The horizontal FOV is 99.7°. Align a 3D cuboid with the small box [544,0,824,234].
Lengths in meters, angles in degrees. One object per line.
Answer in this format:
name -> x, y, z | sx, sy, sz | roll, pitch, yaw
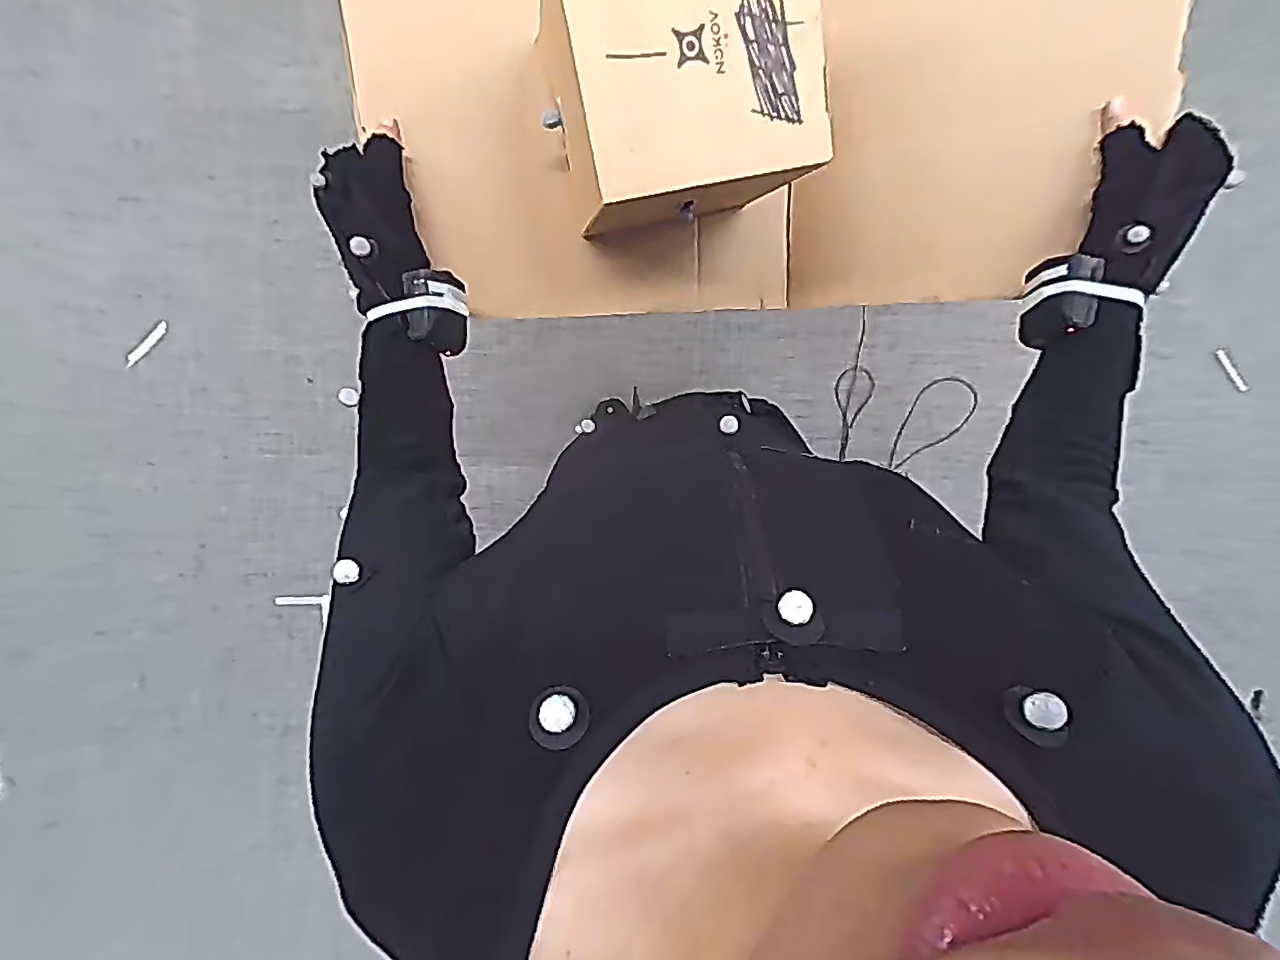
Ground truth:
small box -> 0.026, -0.313, 0.444 | 0.179, 0.176, 0.168 | -14, 109, -7
